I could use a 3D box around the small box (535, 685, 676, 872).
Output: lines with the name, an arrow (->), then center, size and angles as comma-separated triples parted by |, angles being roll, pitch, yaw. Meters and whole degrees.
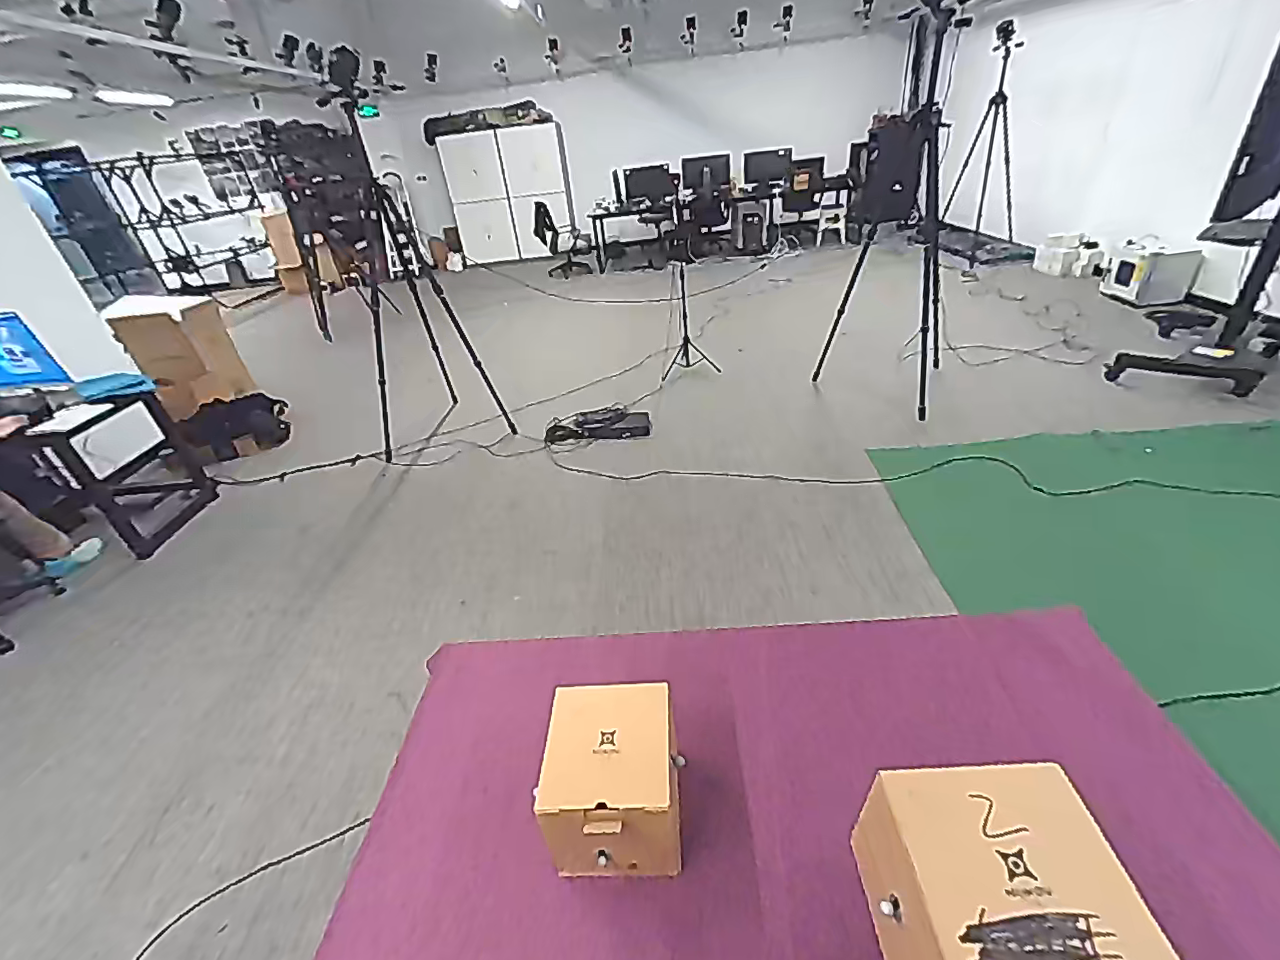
small box -> -0.038, 0.419, 0.767 | 0.168, 0.176, 0.179 | -4, 33, 5
